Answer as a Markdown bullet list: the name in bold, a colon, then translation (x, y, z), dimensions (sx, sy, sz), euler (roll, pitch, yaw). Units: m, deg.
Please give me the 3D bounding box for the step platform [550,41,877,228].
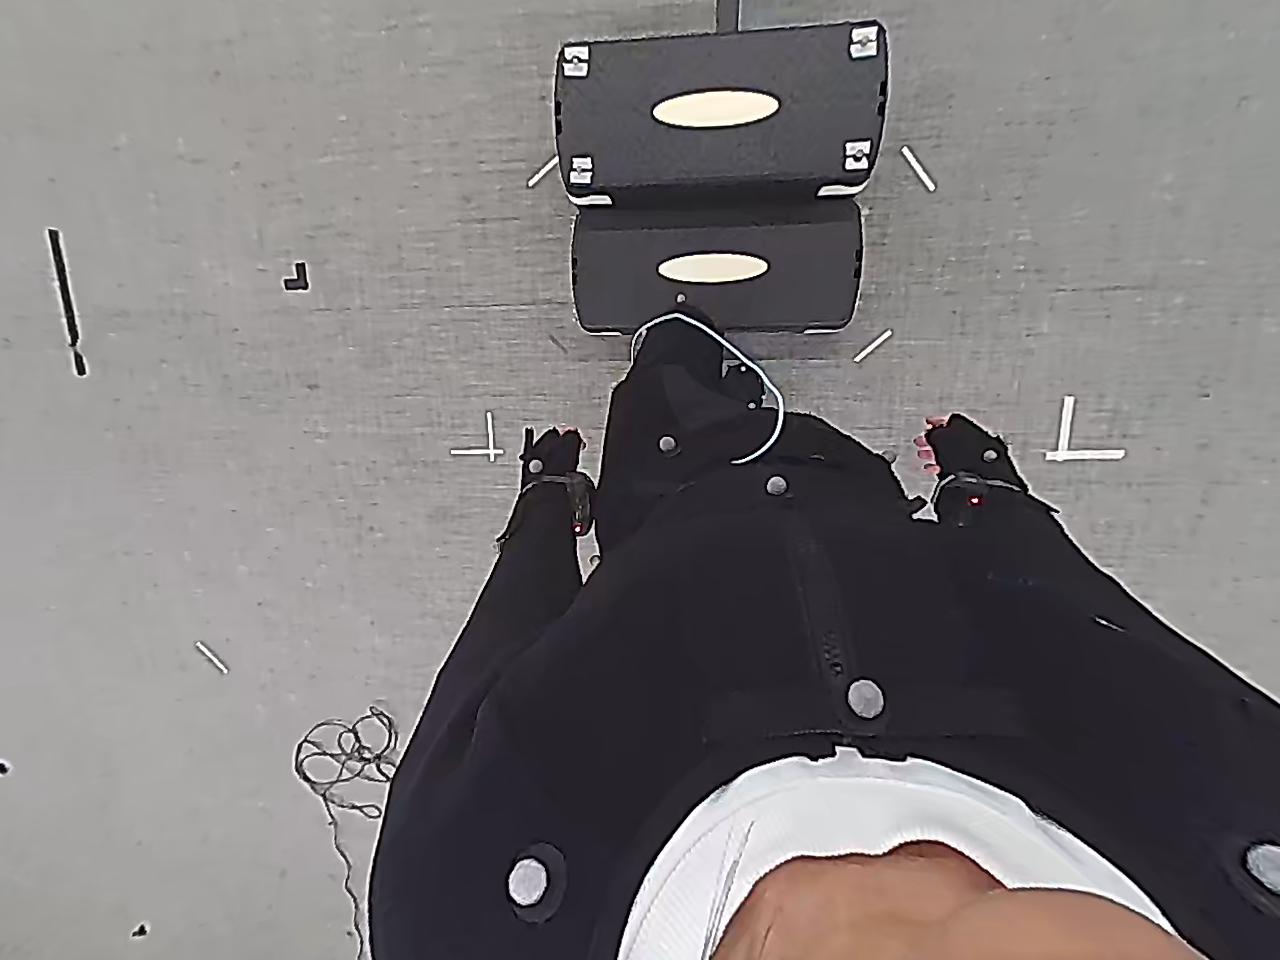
- **step platform**: translation (0.147, -0.738, 1.185), dimensions (0.684, 0.204, 0.286), euler (0, 104, 6)
